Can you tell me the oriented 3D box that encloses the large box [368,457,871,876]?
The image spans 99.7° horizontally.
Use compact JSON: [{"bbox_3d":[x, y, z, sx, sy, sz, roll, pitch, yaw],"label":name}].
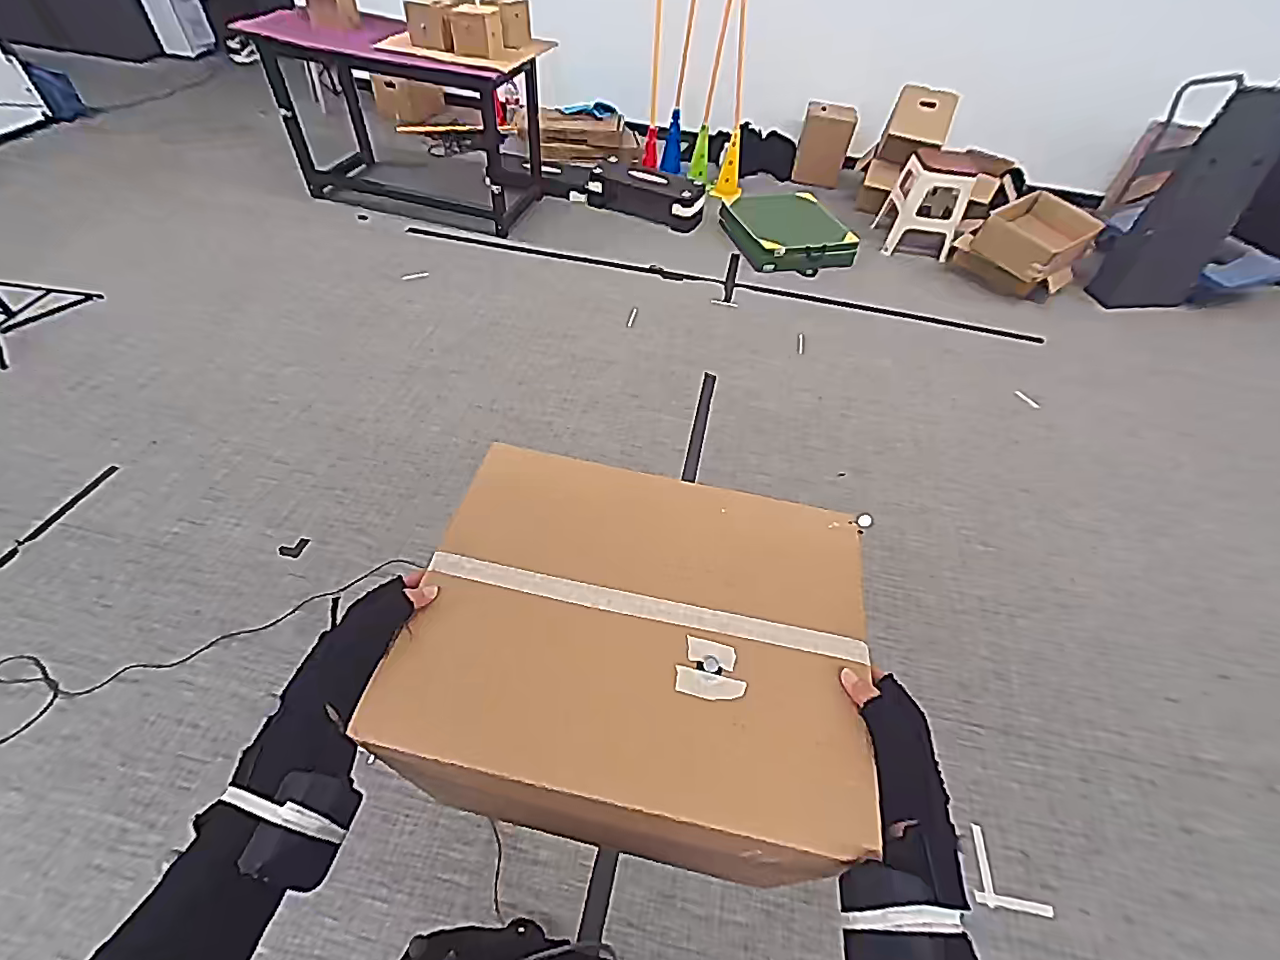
[{"bbox_3d":[-0.008,0.216,0.619,0.408,0.320,0.320,12,52,4],"label":"large box"}]
